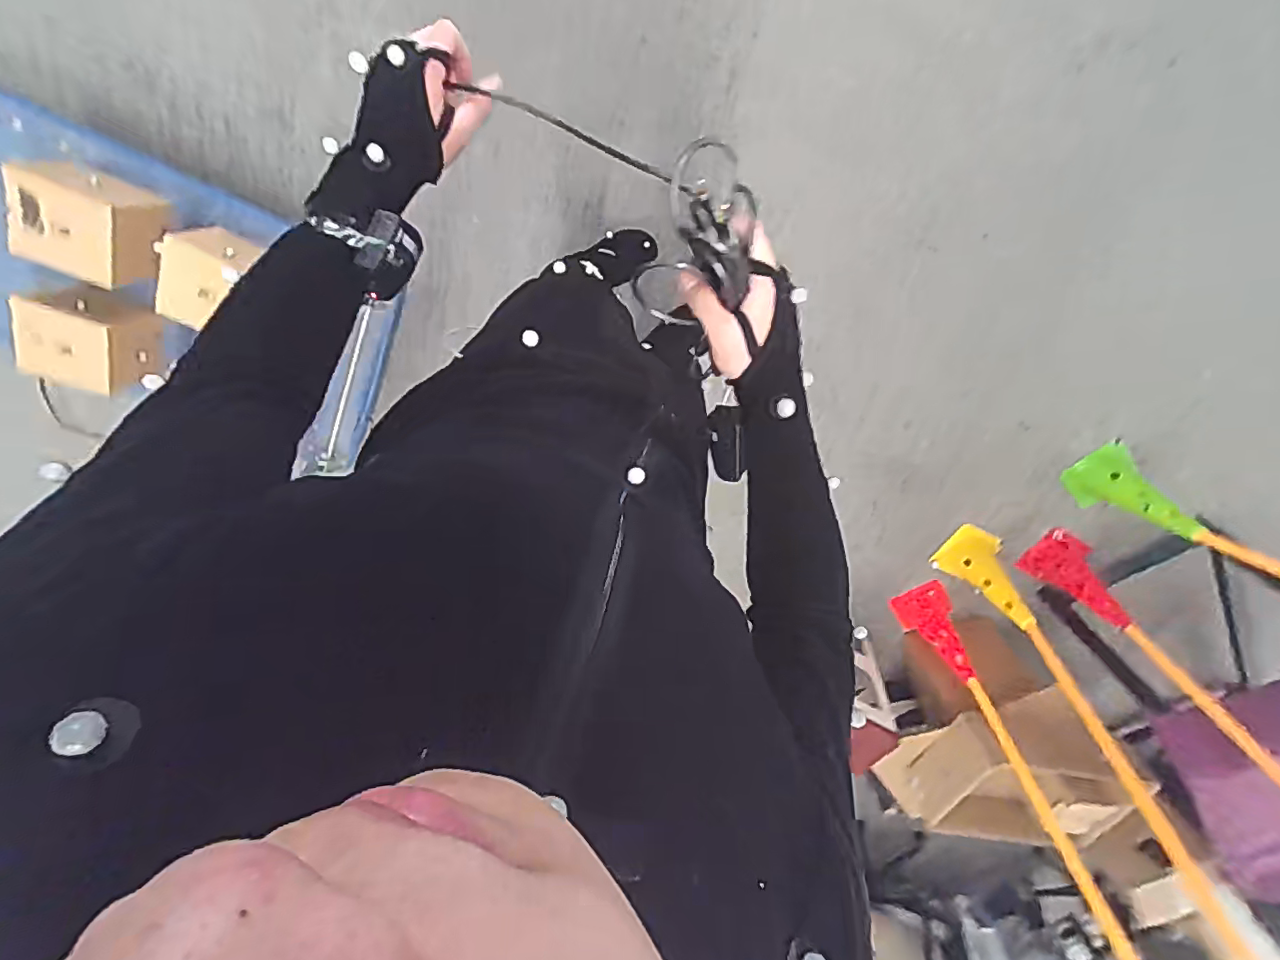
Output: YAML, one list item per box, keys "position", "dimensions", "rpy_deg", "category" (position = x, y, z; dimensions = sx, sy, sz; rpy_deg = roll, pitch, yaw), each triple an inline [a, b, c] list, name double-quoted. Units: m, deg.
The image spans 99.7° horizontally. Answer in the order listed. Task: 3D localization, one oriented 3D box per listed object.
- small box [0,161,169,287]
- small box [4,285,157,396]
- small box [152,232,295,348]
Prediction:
- position: [-1.114, -0.518, 1.094]
  dimensions: [0.179, 0.176, 0.168]
  rpy_deg: [21, 117, -16]
  category: "small box"
- position: [-1.229, -0.316, 1.204]
  dimensions: [0.179, 0.176, 0.168]
  rpy_deg: [20, 116, -14]
  category: "small box"
- position: [-0.893, -0.416, 1.170]
  dimensions: [0.179, 0.176, 0.168]
  rpy_deg: [24, 115, -17]
  category: "small box"
